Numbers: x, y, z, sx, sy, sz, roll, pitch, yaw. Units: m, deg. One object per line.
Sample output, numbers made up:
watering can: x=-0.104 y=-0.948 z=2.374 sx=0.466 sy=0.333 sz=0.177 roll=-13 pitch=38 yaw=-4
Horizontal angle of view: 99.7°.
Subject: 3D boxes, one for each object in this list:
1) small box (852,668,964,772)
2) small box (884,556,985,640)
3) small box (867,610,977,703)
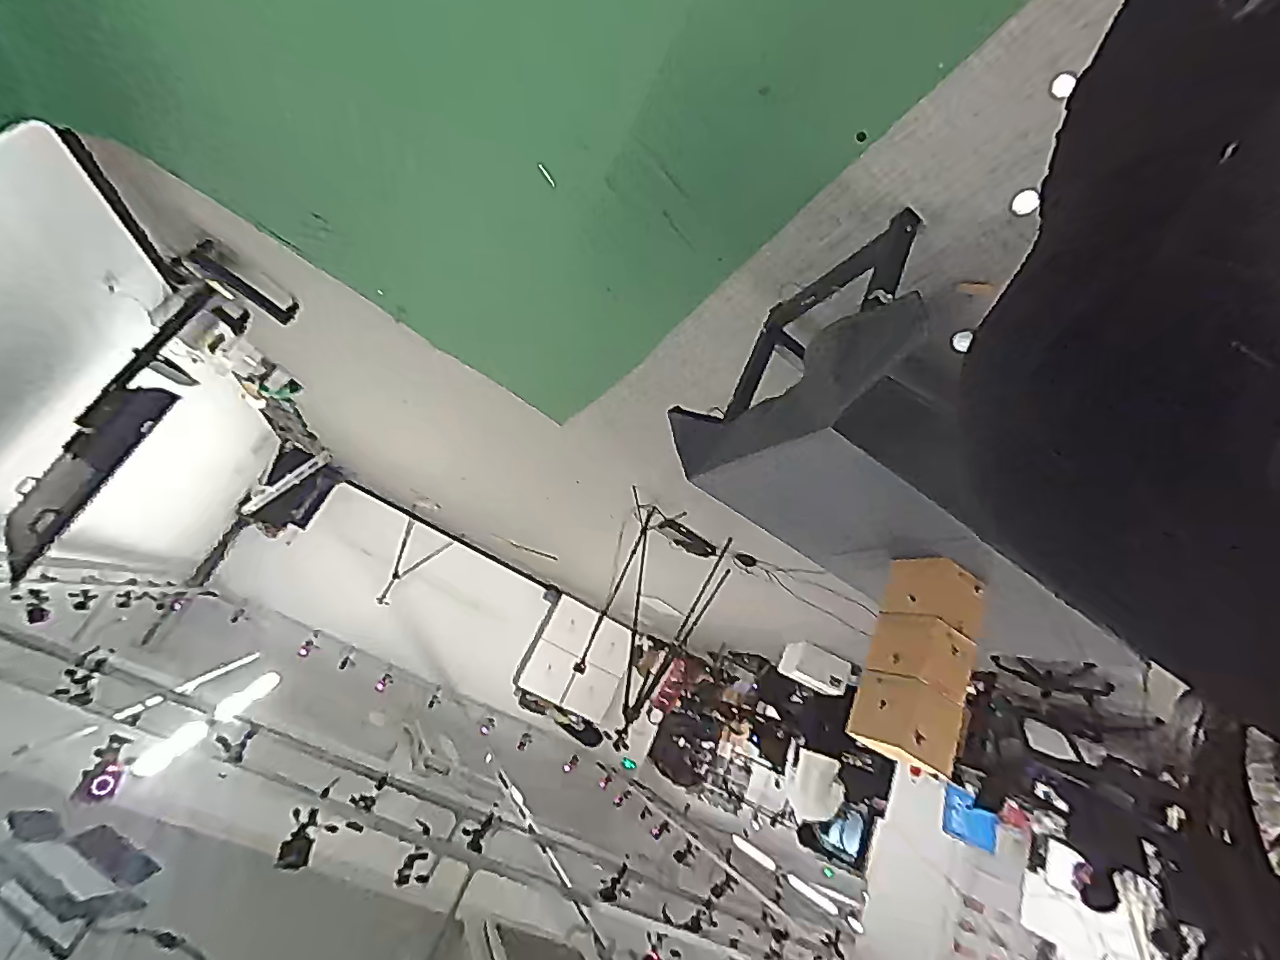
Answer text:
small box: x=0.665 y=0.585 z=1.341 sx=0.179 sy=0.176 sz=0.168 roll=33 pitch=158 yaw=-17
small box: x=0.801 y=0.315 z=1.464 sx=0.168 sy=0.176 sz=0.179 roll=32 pitch=159 yaw=-15
small box: x=0.734 y=0.450 z=1.404 sx=0.168 sy=0.176 sz=0.179 roll=33 pitch=158 yaw=-15
